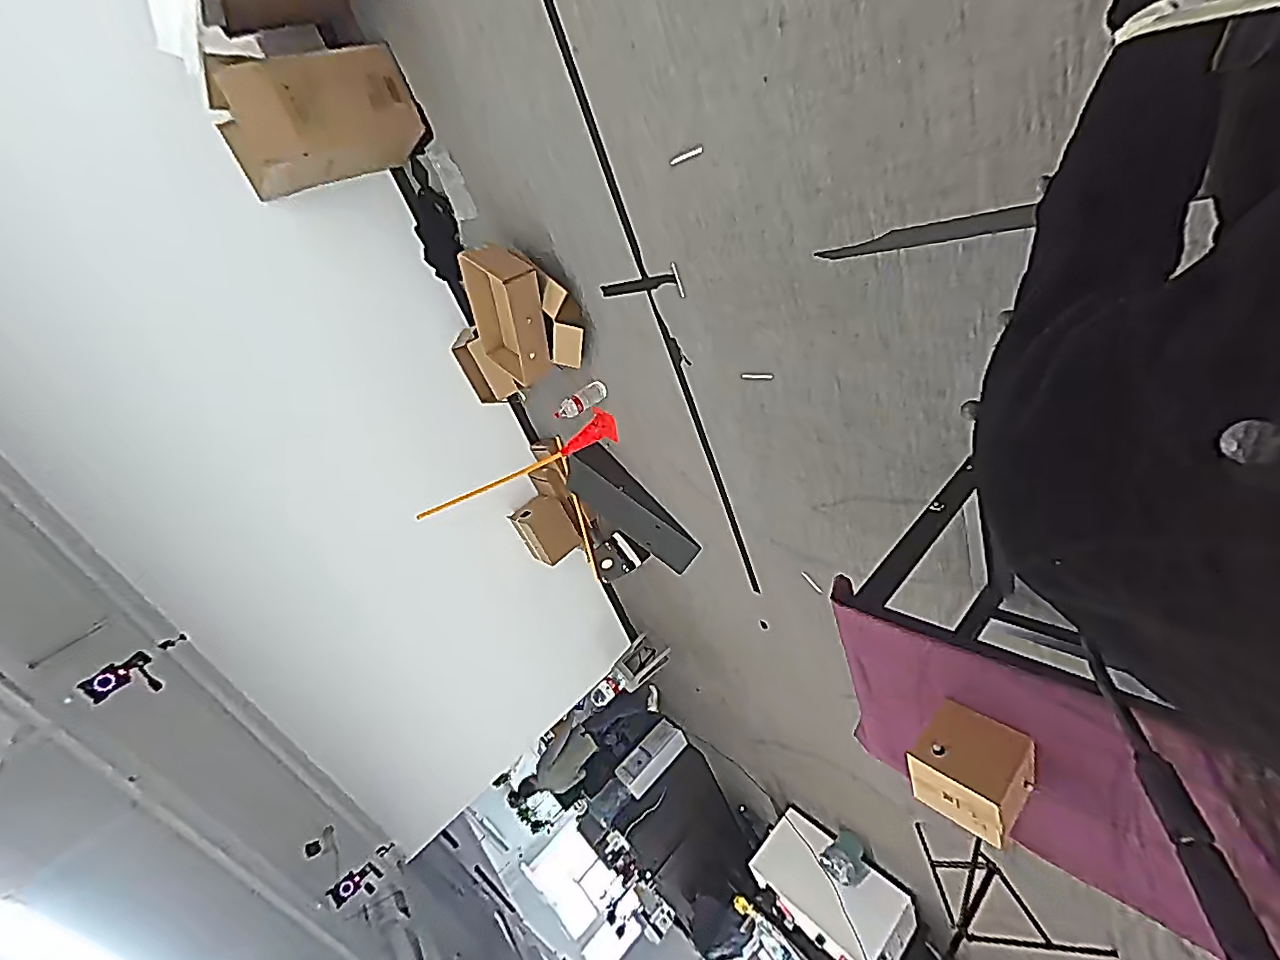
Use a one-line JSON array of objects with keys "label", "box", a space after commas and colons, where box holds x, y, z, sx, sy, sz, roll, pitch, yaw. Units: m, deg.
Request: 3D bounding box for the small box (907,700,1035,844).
[{"label": "small box", "box": [0.693, 0.596, 1.133, 0.179, 0.176, 0.168, 16, 137, 50]}]
